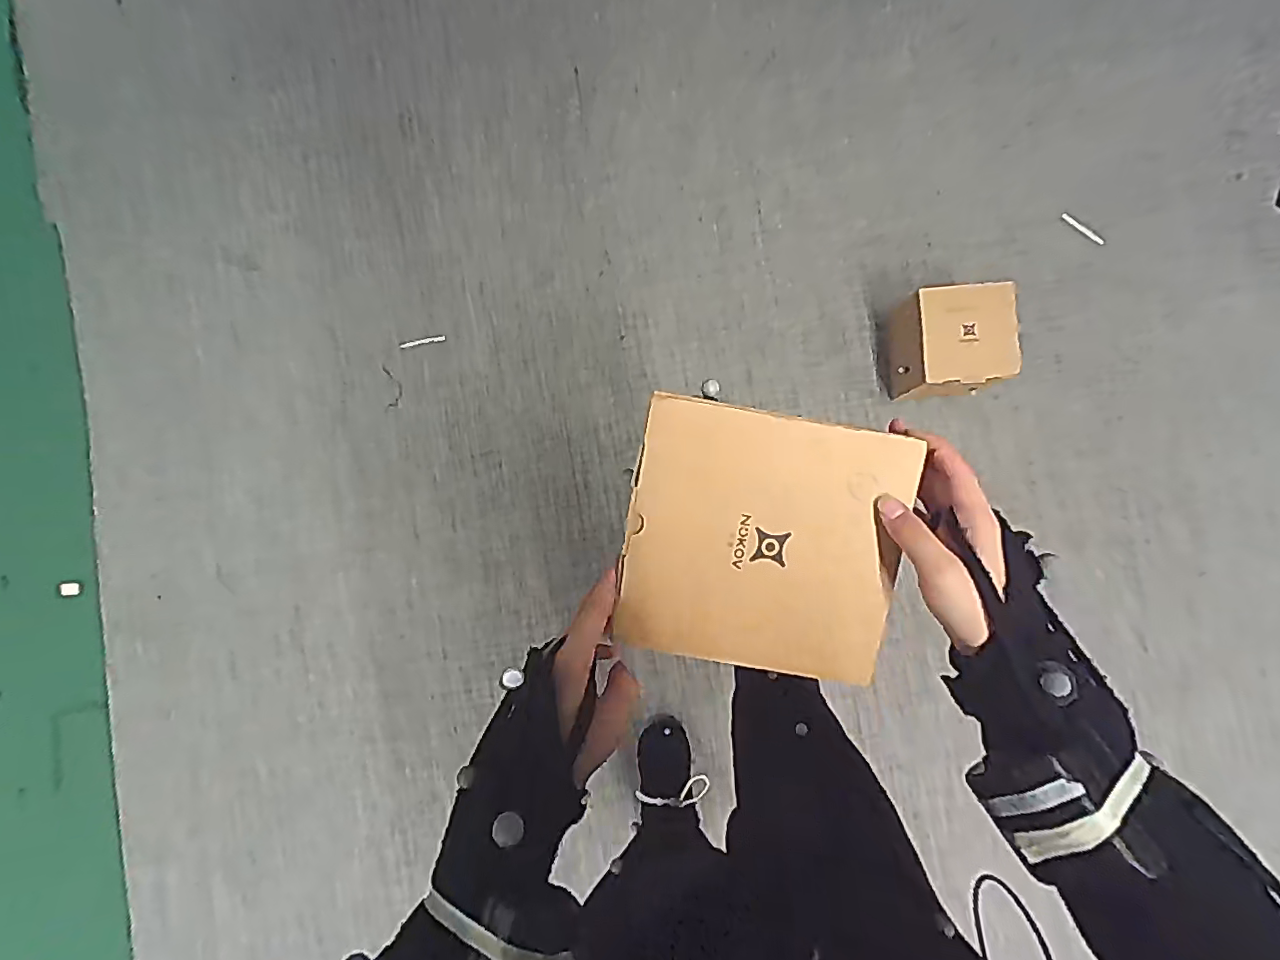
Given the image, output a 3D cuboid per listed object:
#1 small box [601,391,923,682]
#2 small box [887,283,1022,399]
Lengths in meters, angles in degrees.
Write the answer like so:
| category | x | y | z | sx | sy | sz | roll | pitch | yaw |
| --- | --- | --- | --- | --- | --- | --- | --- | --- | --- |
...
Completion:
| category | x | y | z | sx | sy | sz | roll | pitch | yaw |
| --- | --- | --- | --- | --- | --- | --- | --- | --- | --- |
| small box | 0.076 | 0.026 | 0.418 | 0.179 | 0.176 | 0.168 | 10 | 98 | 1 |
| small box | 0.591 | -0.255 | 1.037 | 0.168 | 0.176 | 0.179 | -3 | 86 | 4 |
